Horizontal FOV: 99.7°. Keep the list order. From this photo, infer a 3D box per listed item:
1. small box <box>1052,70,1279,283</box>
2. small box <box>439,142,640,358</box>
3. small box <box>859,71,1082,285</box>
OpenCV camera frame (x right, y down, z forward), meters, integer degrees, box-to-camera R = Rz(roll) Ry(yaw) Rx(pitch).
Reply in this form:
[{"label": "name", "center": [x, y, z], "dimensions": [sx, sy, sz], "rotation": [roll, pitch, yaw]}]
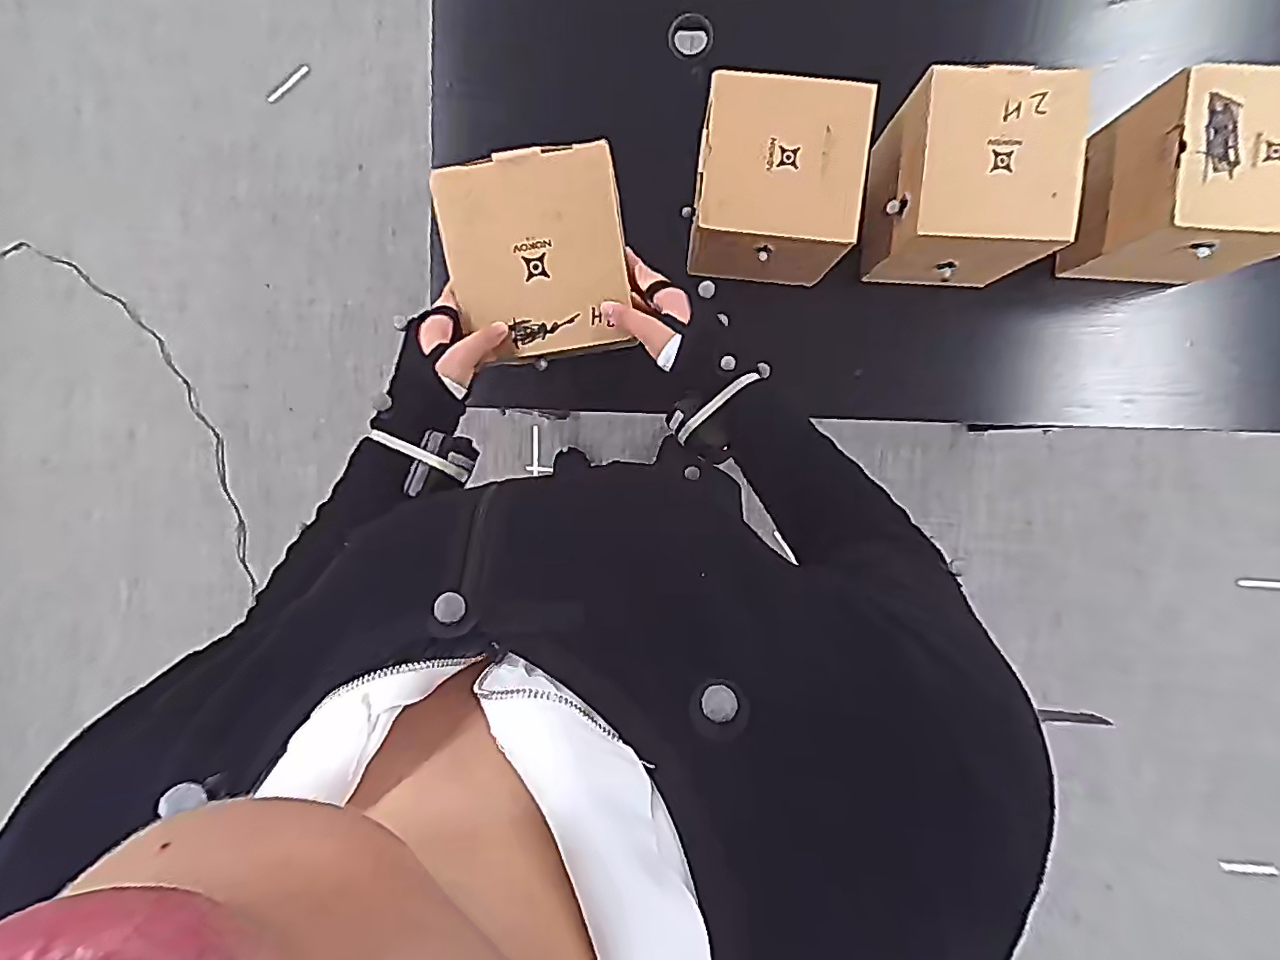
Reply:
[{"label": "small box", "center": [0.643, -0.346, 0.648], "dimensions": [0.179, 0.176, 0.168], "rotation": [4, 94, 1]}, {"label": "small box", "center": [-0.092, -0.229, 0.584], "dimensions": [0.168, 0.176, 0.179], "rotation": [-7, 103, 3]}, {"label": "small box", "center": [0.382, -0.349, 0.658], "dimensions": [0.168, 0.176, 0.179], "rotation": [4, 93, 2]}]
